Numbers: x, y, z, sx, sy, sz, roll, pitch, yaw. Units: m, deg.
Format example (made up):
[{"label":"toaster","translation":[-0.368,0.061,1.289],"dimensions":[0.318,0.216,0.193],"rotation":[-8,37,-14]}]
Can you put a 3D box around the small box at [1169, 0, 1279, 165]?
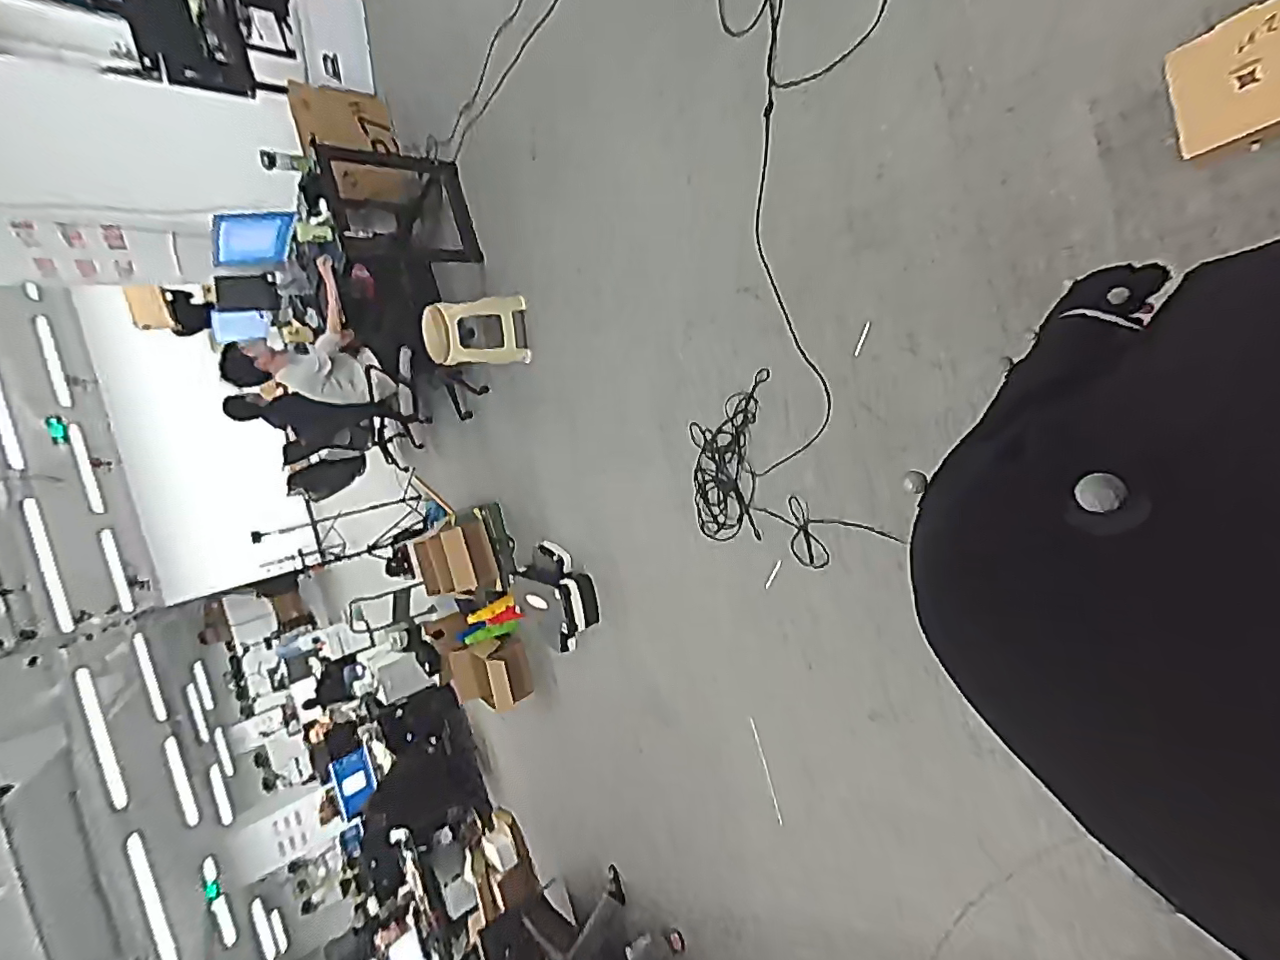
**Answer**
[{"label":"small box","translation":[0.990,-0.634,0.868],"dimensions":[0.168,0.176,0.179],"rotation":[-11,94,51]}]
